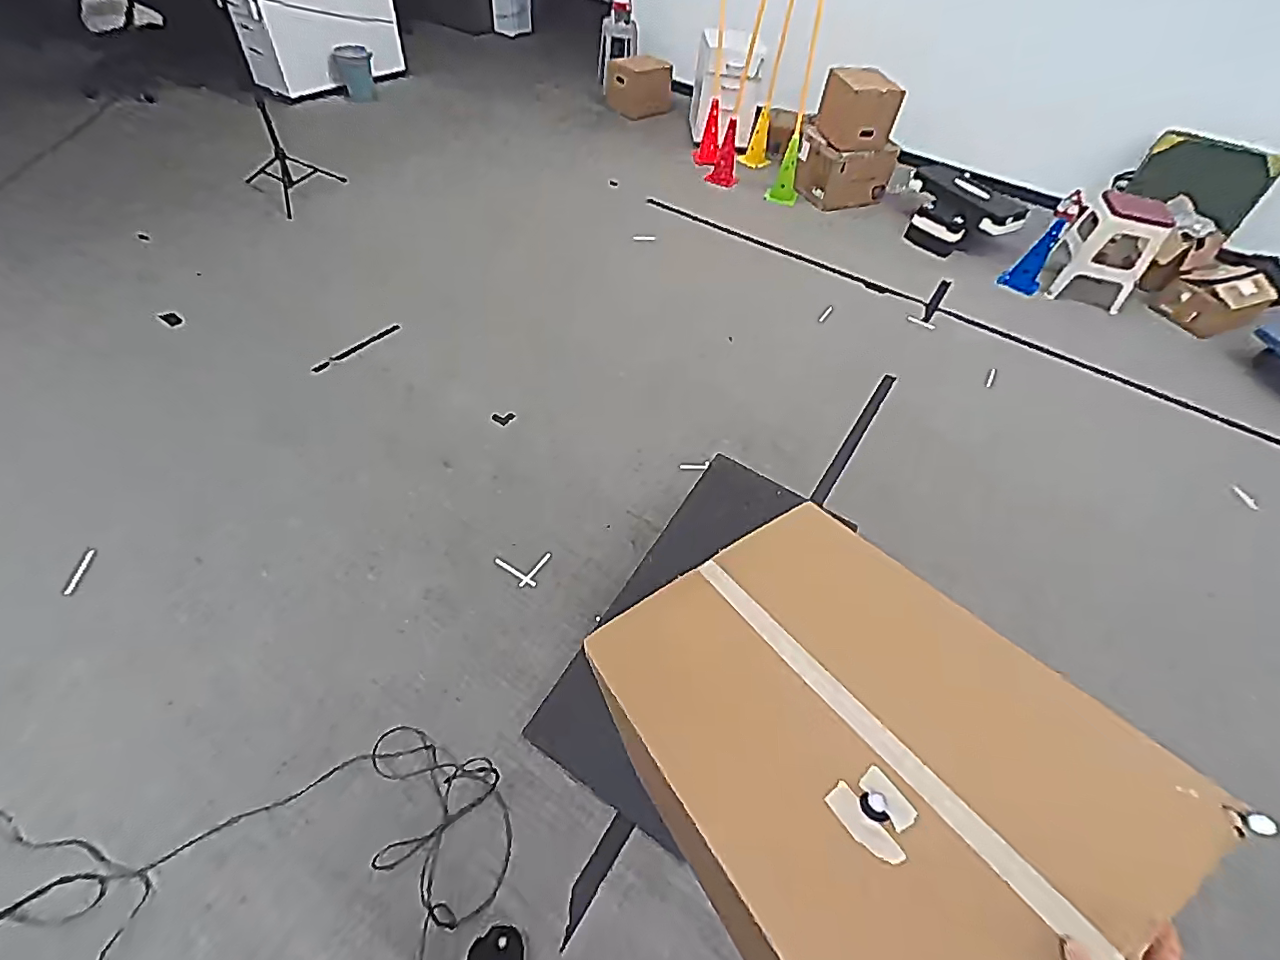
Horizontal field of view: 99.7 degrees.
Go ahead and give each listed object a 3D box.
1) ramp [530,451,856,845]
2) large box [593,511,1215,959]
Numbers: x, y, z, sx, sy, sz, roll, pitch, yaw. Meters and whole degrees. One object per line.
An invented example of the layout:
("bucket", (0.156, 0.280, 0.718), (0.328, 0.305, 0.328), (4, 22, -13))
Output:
("ramp", (0.190, 0.380, 1.511), (0.509, 0.206, 0.991), (29, 54, 14))
("large box", (0.200, 0.308, 0.567), (0.320, 0.320, 0.408), (-28, 43, -18))
